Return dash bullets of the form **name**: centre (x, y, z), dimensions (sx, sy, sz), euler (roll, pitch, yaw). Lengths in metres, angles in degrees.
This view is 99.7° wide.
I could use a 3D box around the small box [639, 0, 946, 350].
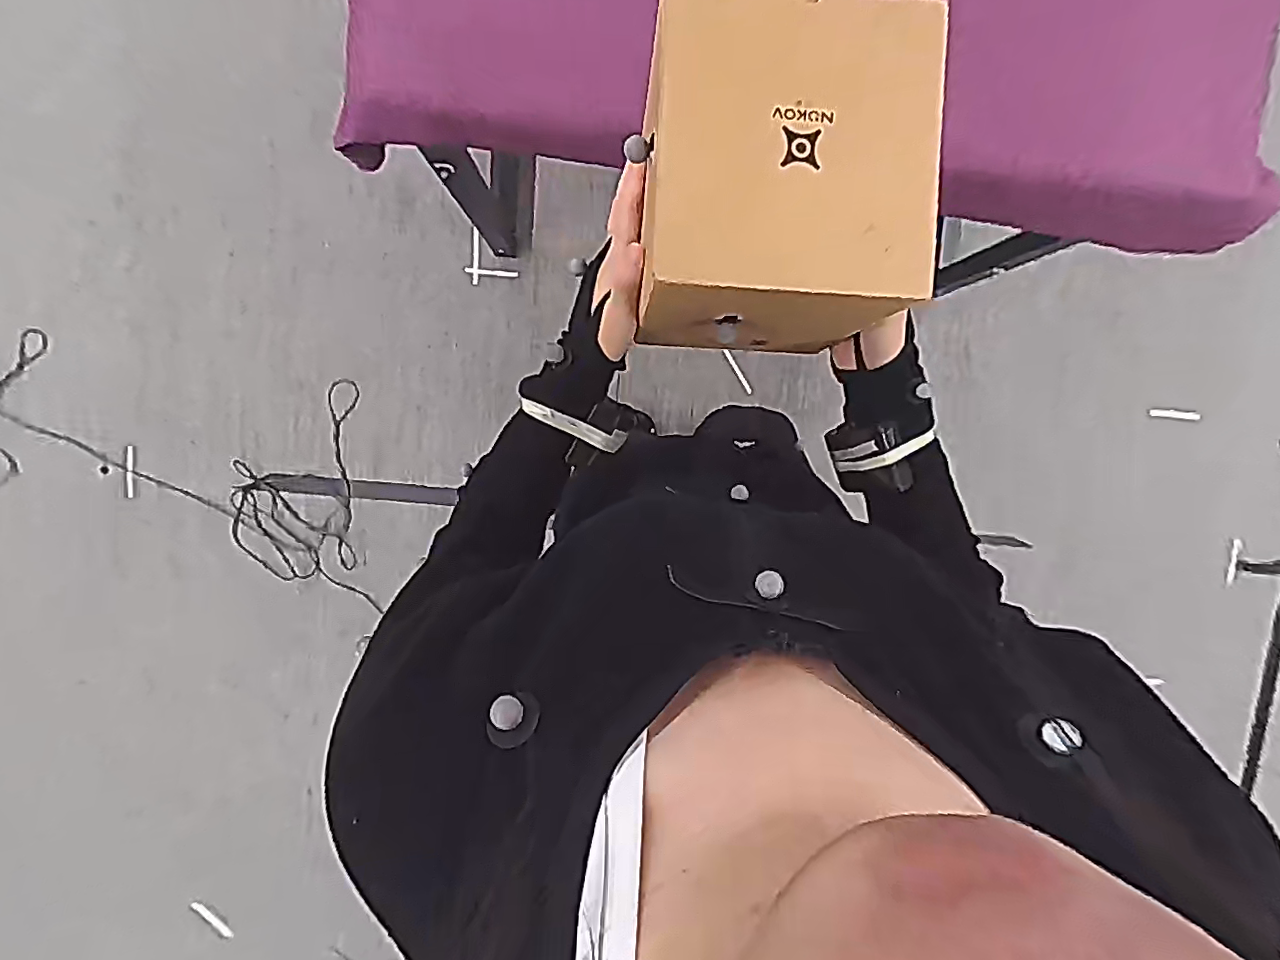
- **small box**: centre (0.089, -0.199, 0.395), dimensions (0.168, 0.176, 0.179), euler (2, 91, -5)
